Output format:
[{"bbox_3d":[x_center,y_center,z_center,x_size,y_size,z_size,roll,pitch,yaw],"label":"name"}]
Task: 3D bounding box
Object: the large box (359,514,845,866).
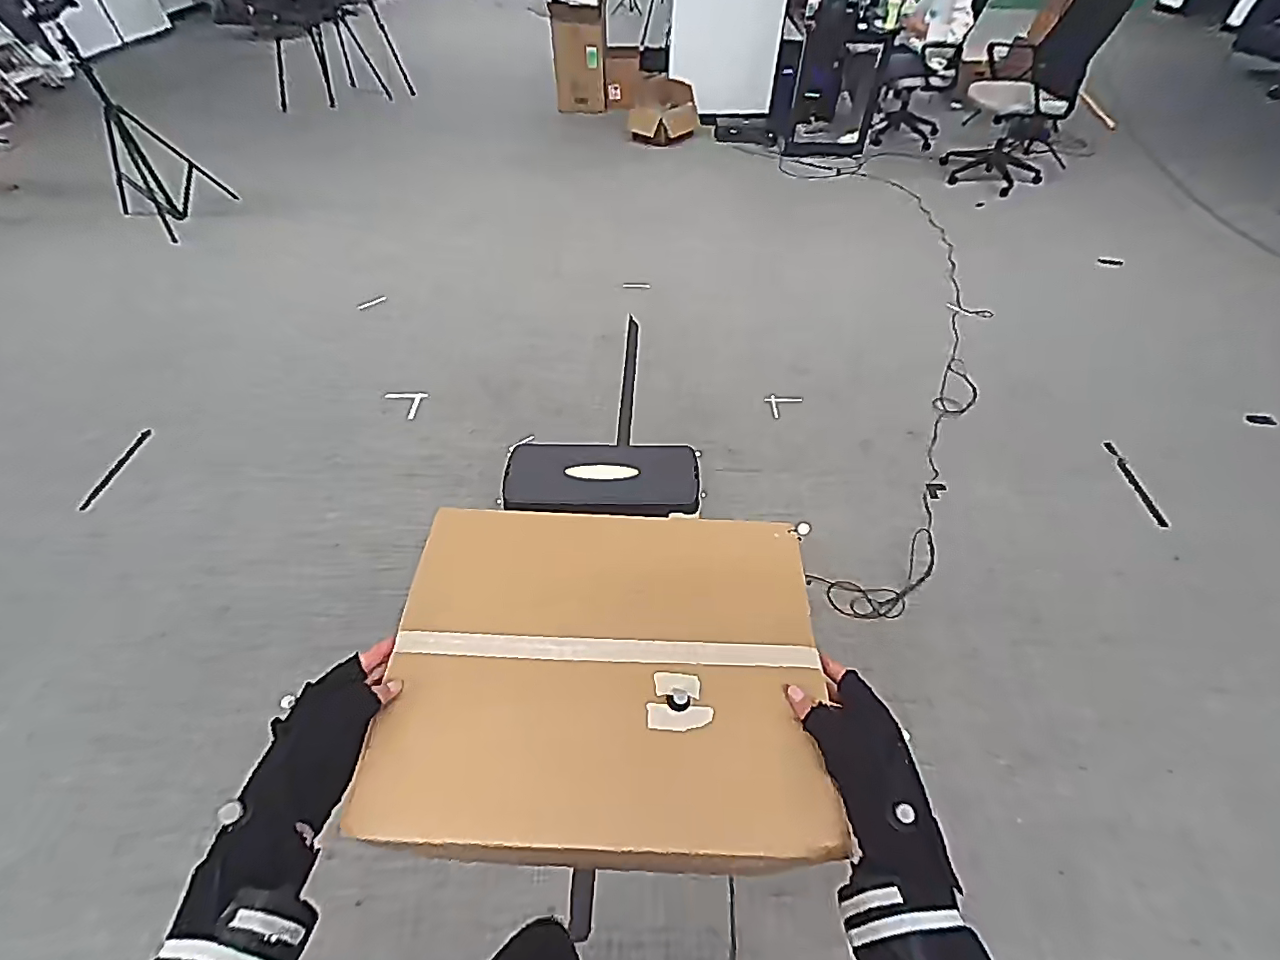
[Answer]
[{"bbox_3d":[-0.034,0.258,0.642,0.408,0.320,0.320,3,53,-1],"label":"large box"}]
